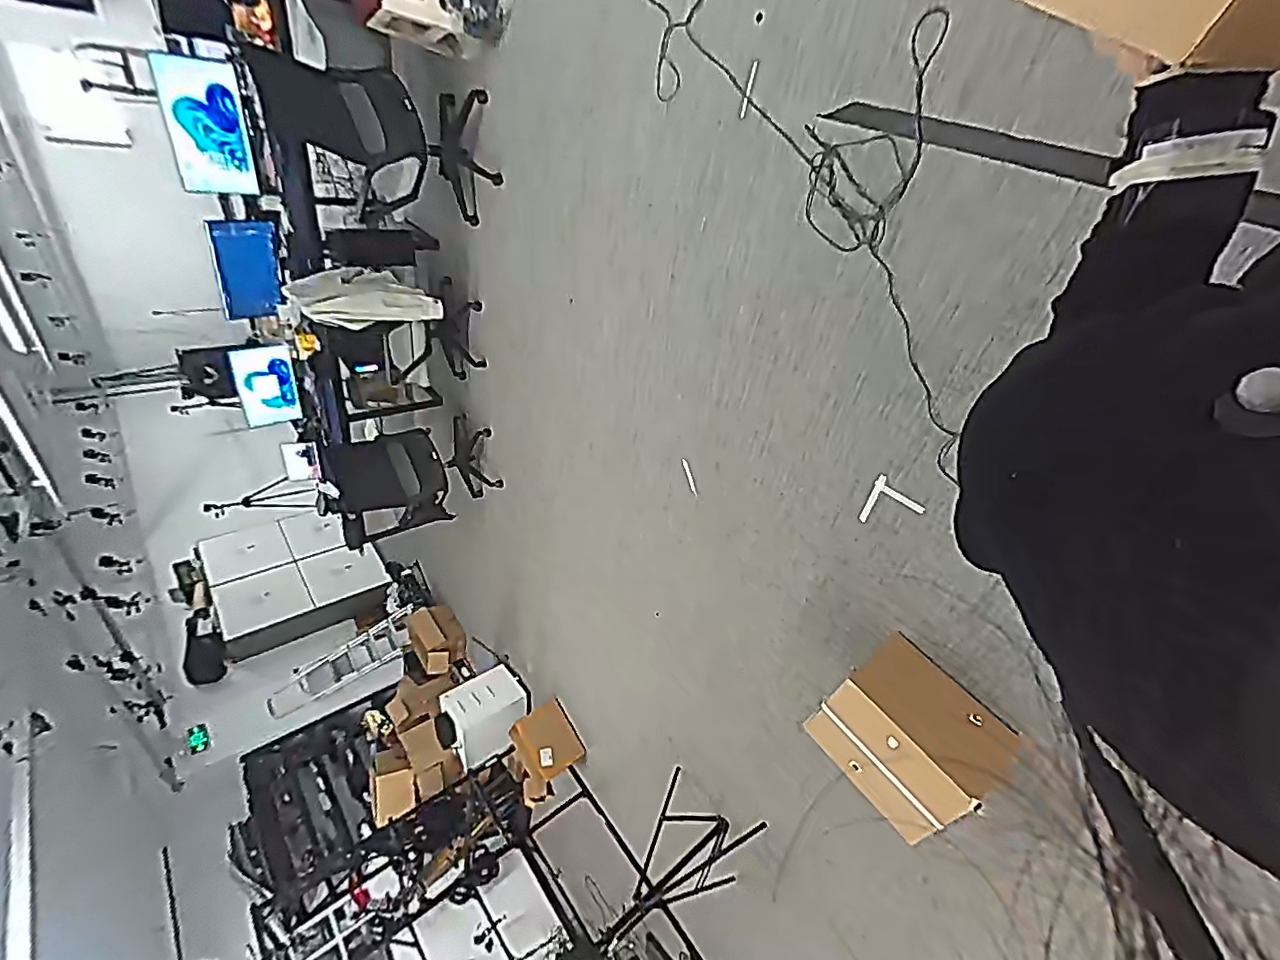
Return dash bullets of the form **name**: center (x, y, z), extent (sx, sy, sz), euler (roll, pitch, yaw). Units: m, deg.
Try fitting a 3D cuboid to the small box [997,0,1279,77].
- **small box**: center (0.281, -0.314, 0.244), extent (0.179, 0.176, 0.168), euler (60, 155, 29)
